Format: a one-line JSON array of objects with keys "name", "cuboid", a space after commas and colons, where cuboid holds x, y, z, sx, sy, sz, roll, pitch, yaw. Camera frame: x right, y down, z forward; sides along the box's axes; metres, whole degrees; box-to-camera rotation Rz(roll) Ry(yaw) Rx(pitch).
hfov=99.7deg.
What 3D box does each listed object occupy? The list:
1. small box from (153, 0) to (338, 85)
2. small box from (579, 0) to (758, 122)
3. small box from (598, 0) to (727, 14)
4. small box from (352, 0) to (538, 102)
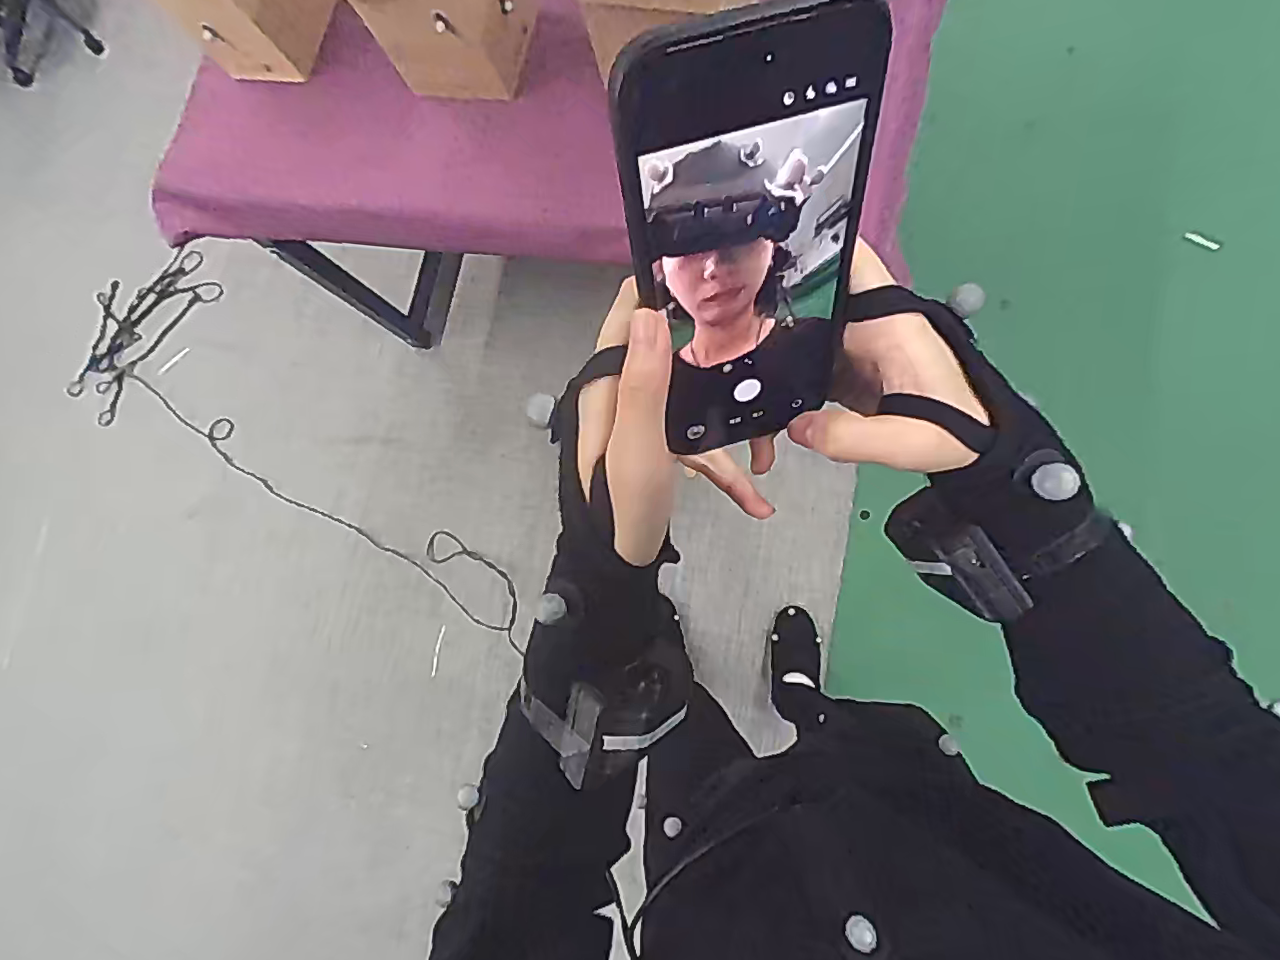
[{"name": "small box", "cuboid": [-0.636, -0.790, 0.886, 0.168, 0.176, 0.179, 13, 83, 14]}, {"name": "small box", "cuboid": [0.049, -0.608, 0.705, 0.179, 0.176, 0.168, 18, 84, 15]}, {"name": "small box", "cuboid": [0.020, -0.620, 0.543, 0.179, 0.176, 0.168, 18, 84, 14]}, {"name": "small box", "cuboid": [-0.271, -0.691, 0.787, 0.179, 0.176, 0.168, 12, 82, 14]}]
